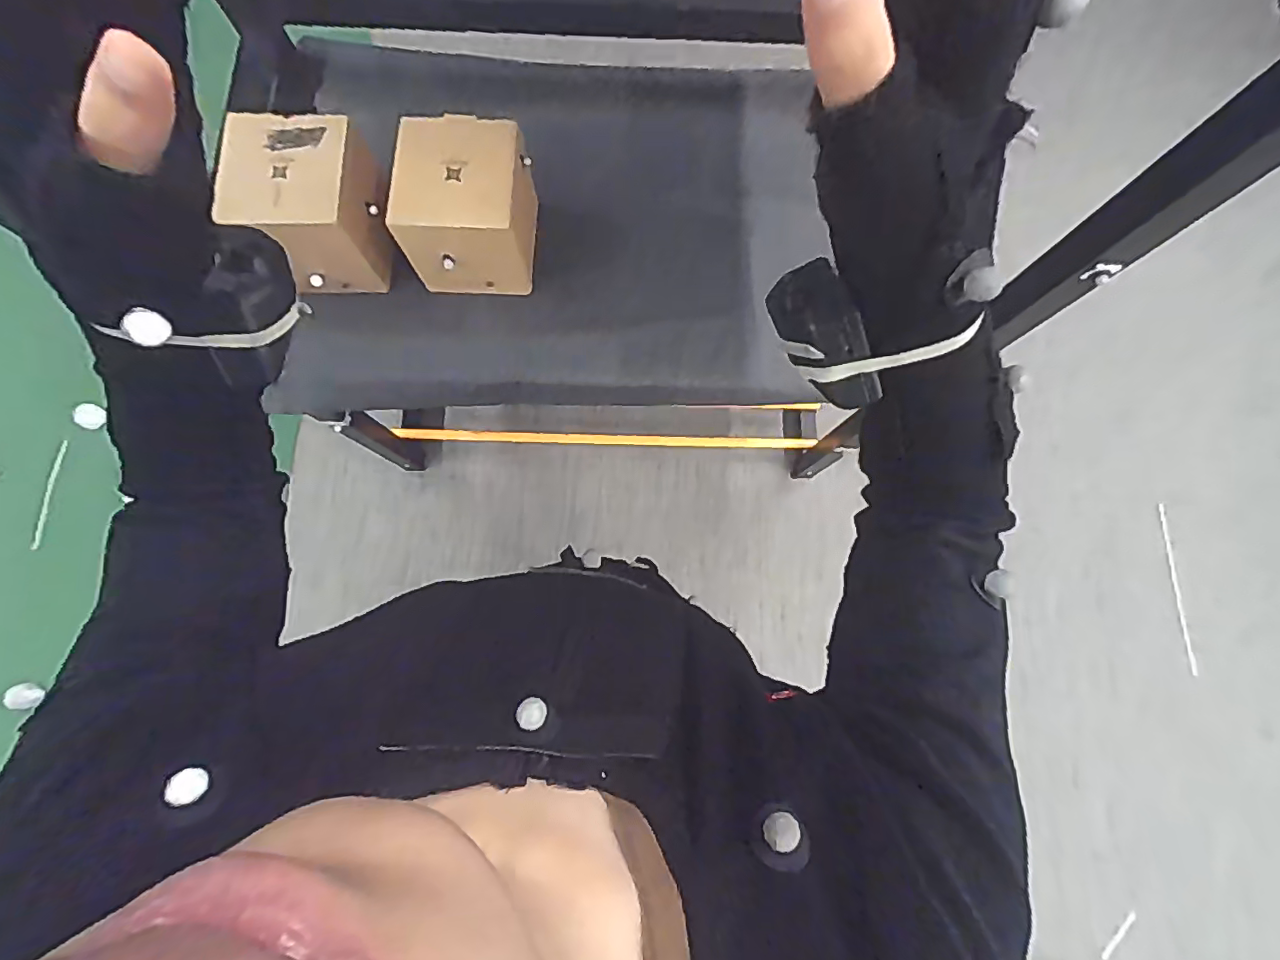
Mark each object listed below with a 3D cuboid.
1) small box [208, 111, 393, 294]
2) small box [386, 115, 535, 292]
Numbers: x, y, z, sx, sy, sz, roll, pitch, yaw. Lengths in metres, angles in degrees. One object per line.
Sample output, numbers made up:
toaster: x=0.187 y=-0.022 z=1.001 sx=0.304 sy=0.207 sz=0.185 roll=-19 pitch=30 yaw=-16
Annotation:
small box: x=-0.481 y=-0.400 z=0.798 sx=0.168 sy=0.176 sz=0.179 roll=-1 pitch=78 yaw=-2
small box: x=-0.254 y=-0.400 z=0.807 sx=0.168 sy=0.176 sz=0.179 roll=1 pitch=77 yaw=-1
